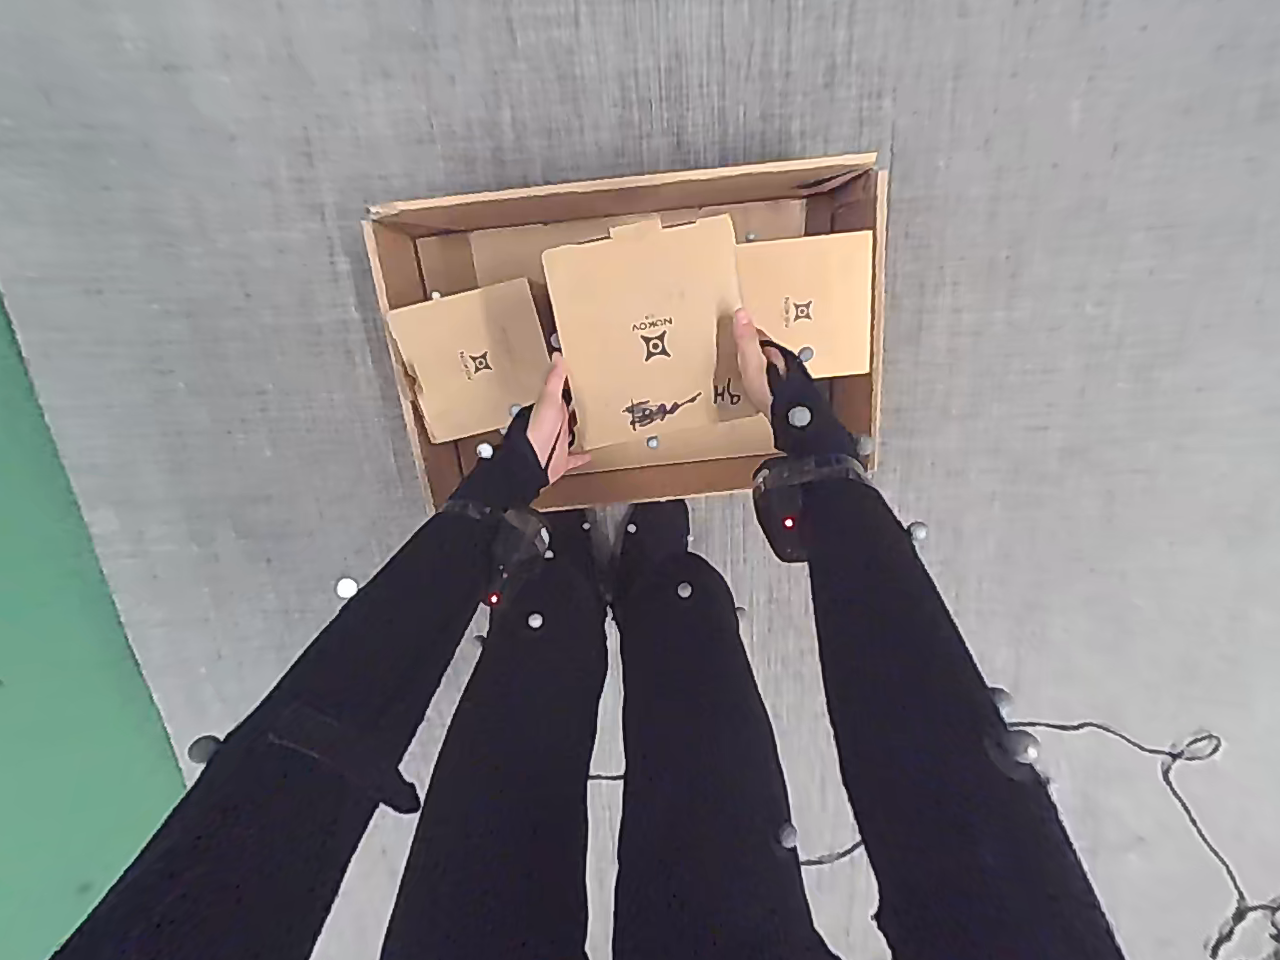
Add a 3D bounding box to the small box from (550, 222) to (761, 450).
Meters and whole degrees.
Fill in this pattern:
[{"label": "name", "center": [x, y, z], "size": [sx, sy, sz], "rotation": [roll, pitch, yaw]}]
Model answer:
[{"label": "small box", "center": [0.012, -0.137, 0.552], "size": [0.168, 0.176, 0.179], "rotation": [-11, 101, 0]}]
